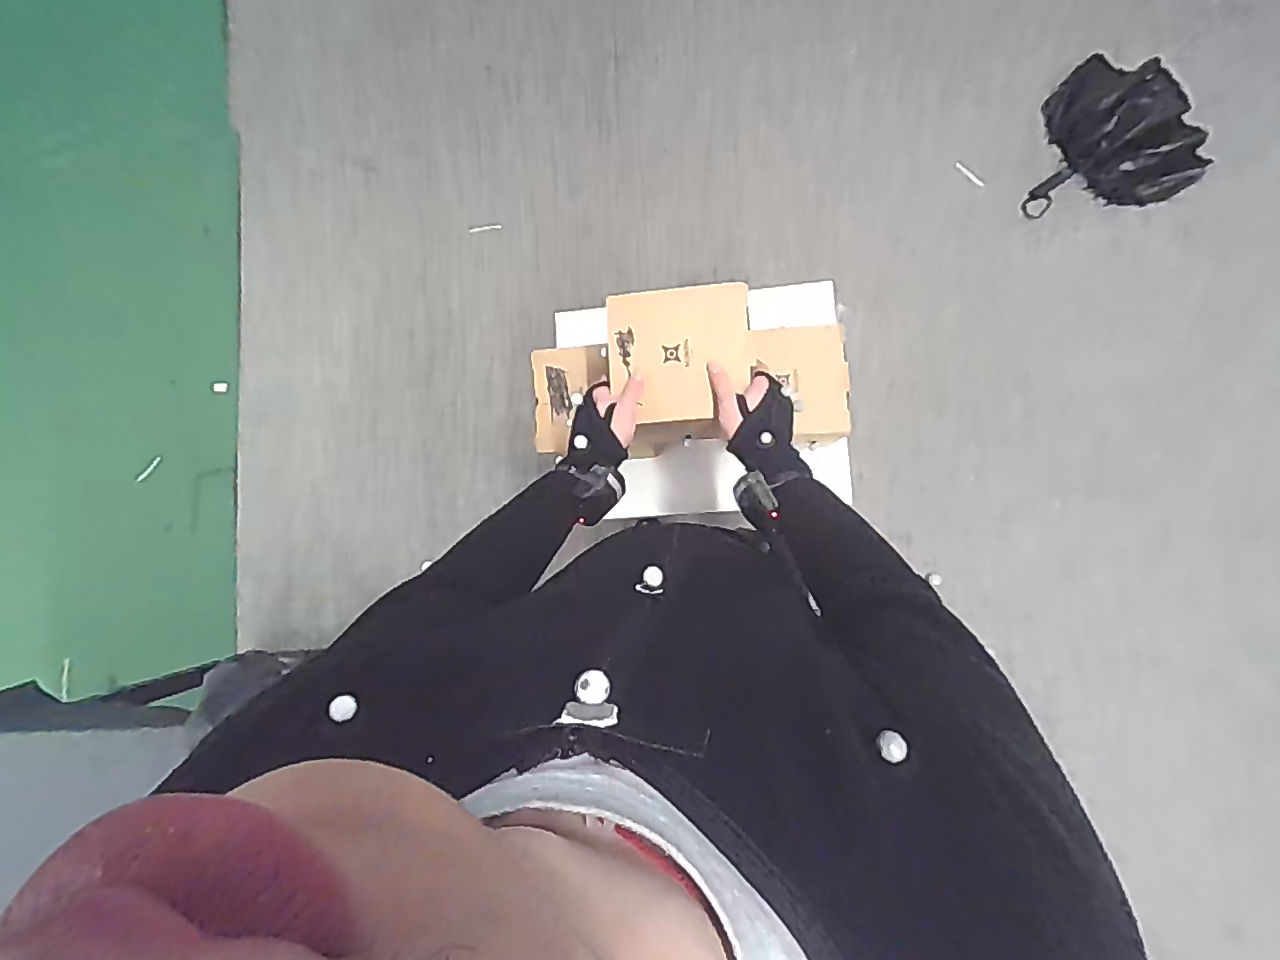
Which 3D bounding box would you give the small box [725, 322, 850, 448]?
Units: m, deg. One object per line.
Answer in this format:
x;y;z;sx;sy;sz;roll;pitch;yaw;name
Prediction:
0.227;-0.143;0.874;0.179;0.176;0.168;-3;86;8;small box

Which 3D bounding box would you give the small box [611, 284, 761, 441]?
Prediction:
0.061;-0.147;0.731;0.179;0.176;0.168;-3;86;6;small box

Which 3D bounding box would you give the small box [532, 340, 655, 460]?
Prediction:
-0.071;-0.127;0.908;0.179;0.176;0.168;-4;87;5;small box
